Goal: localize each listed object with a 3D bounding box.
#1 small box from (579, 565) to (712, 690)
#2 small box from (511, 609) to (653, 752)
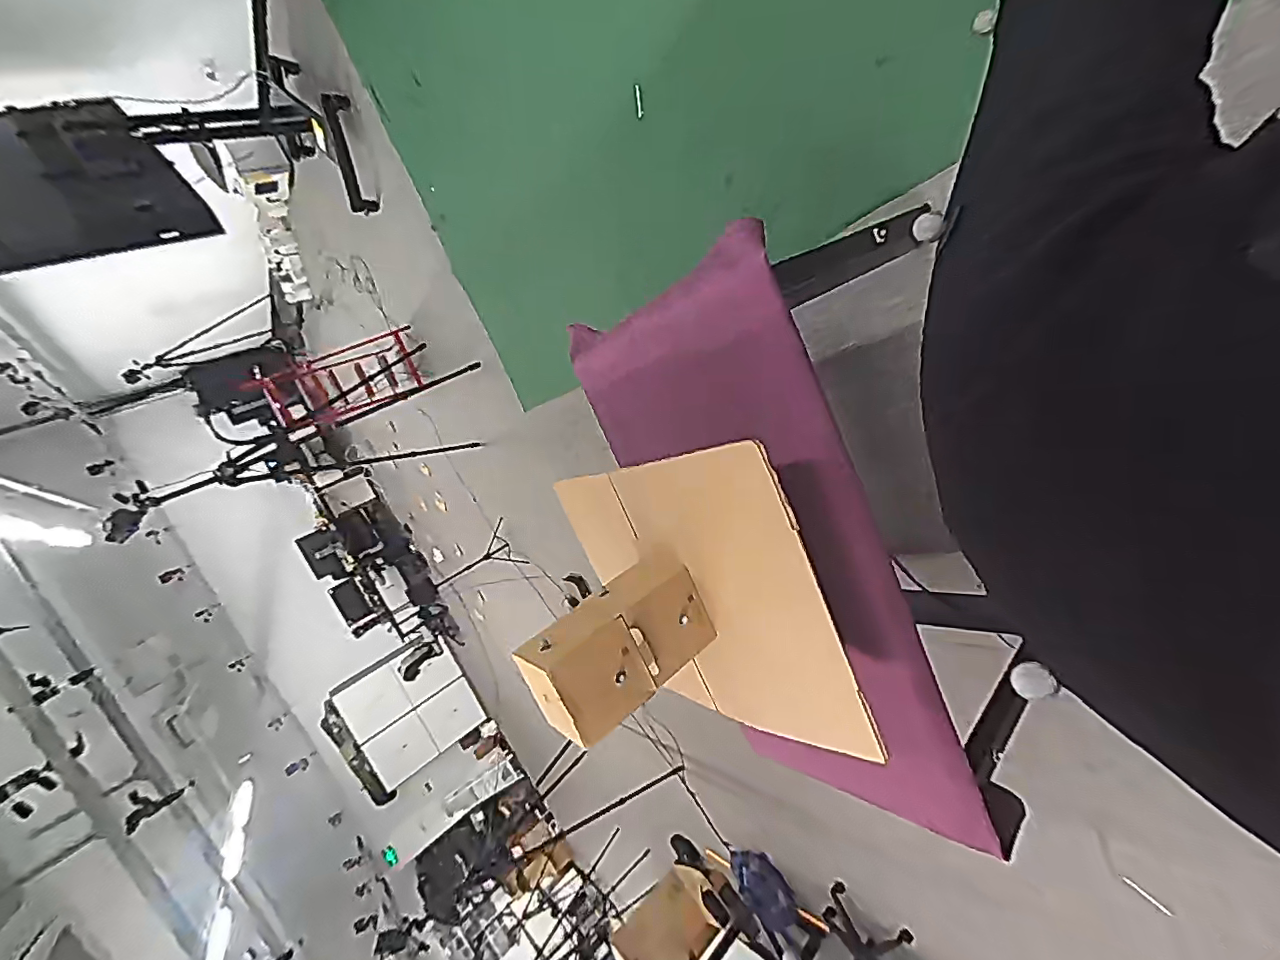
[{"bbox_3d":[0.012,0.284,1.088,0.179,0.176,0.168,-7,111,56],"label":"small box"},{"bbox_3d":[-0.106,0.357,1.003,0.179,0.176,0.168,-10,107,56],"label":"small box"}]
